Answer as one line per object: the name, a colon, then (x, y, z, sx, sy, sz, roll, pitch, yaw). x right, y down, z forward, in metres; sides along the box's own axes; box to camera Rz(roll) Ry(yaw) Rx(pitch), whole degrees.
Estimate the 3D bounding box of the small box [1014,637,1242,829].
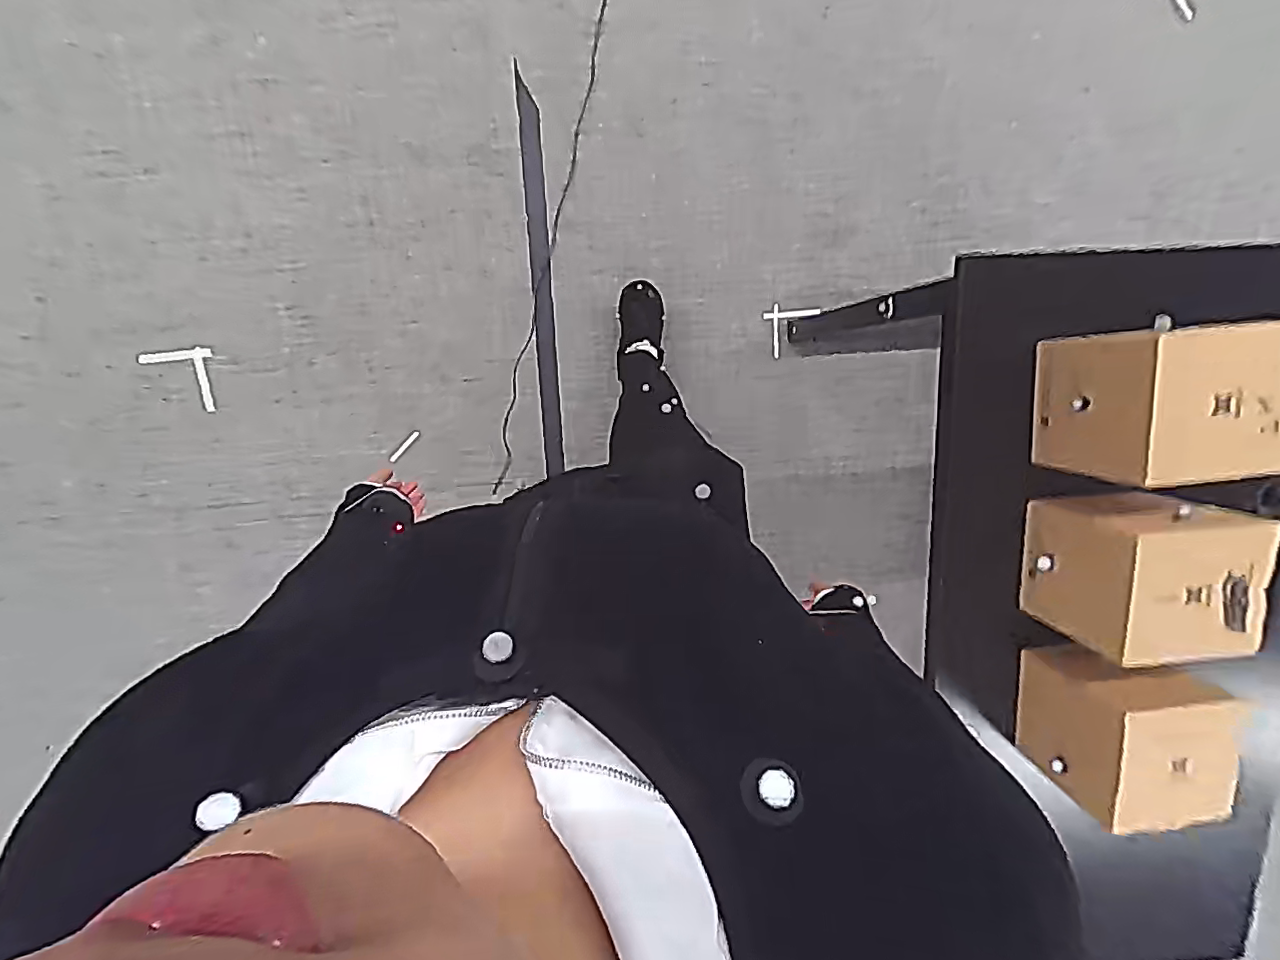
small box: (0.664, 0.344, 0.760, 0.168, 0.176, 0.179, -5, 100, -4)
